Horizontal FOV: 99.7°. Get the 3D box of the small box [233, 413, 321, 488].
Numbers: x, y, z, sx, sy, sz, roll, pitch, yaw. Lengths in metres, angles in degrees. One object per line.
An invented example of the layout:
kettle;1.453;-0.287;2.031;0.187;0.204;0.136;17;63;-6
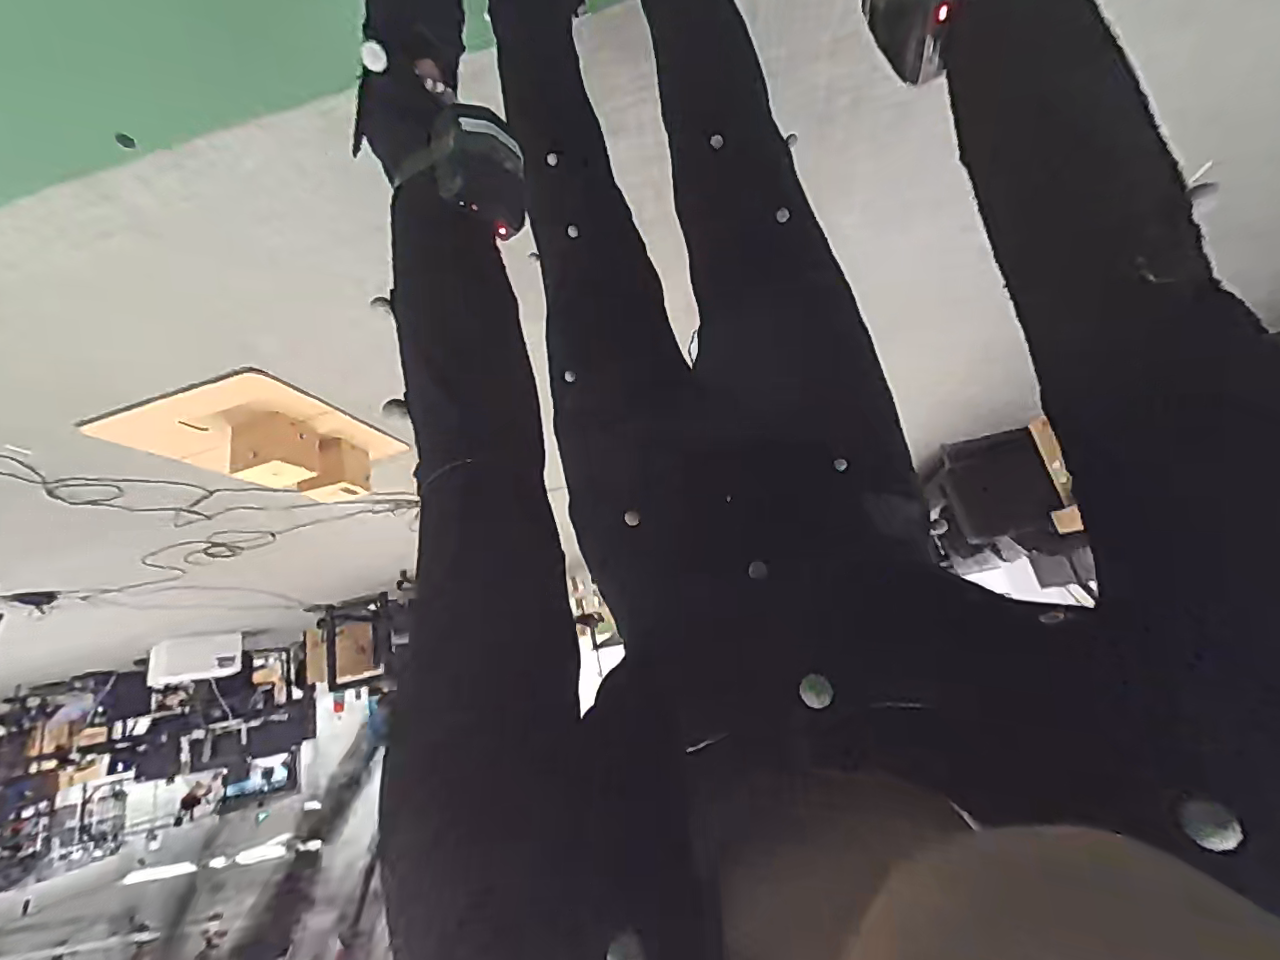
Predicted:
small box;-1.149;-0.092;1.721;0.179;0.176;0.168;-16;162;10
